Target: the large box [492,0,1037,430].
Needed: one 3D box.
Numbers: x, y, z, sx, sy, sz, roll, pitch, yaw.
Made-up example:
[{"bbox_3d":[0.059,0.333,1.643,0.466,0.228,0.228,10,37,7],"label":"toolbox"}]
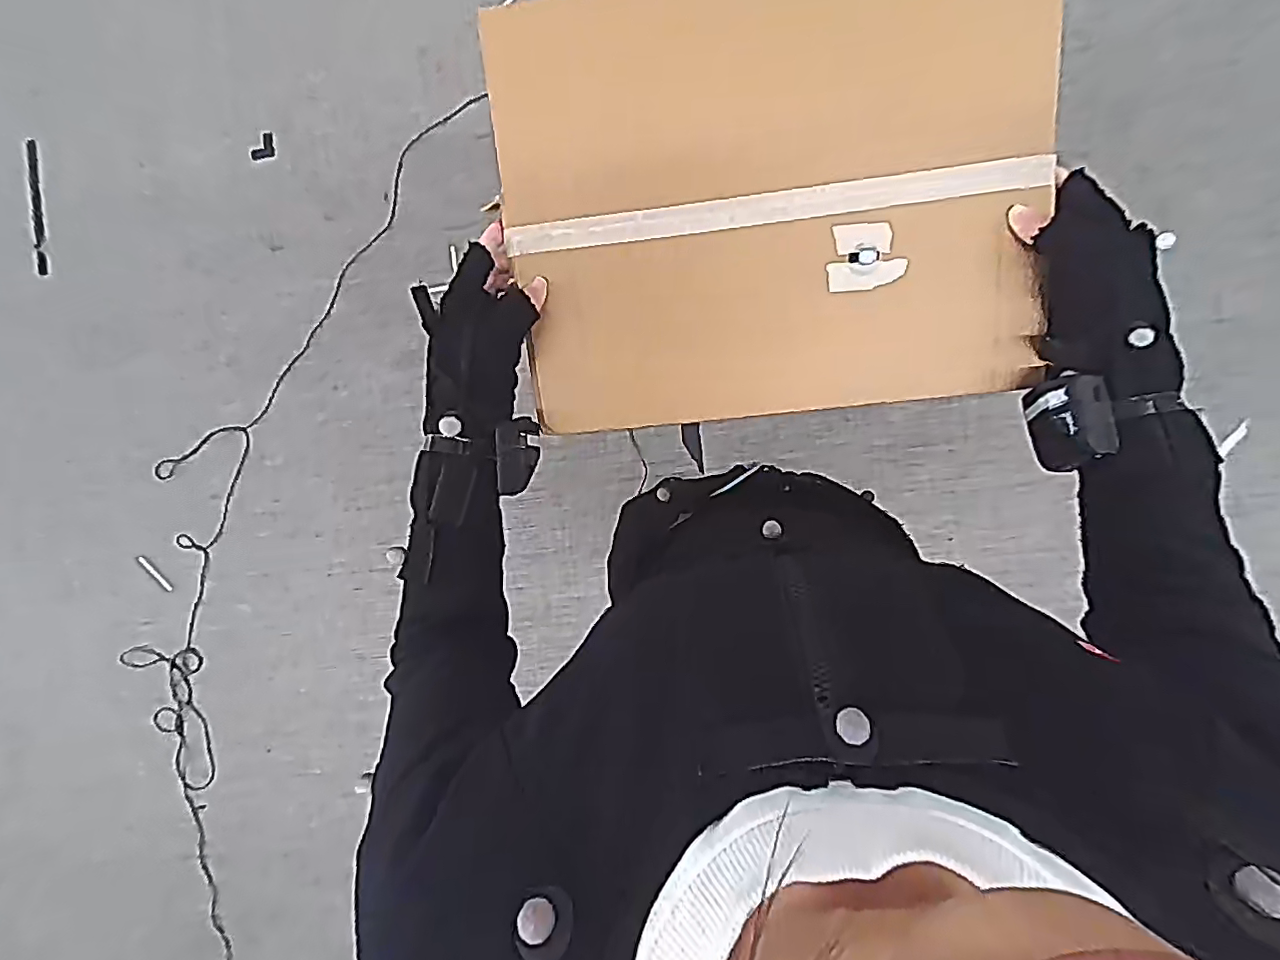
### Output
[{"bbox_3d":[0.107,-0.244,0.570,0.408,0.320,0.320,-6,103,4],"label":"large box"}]
